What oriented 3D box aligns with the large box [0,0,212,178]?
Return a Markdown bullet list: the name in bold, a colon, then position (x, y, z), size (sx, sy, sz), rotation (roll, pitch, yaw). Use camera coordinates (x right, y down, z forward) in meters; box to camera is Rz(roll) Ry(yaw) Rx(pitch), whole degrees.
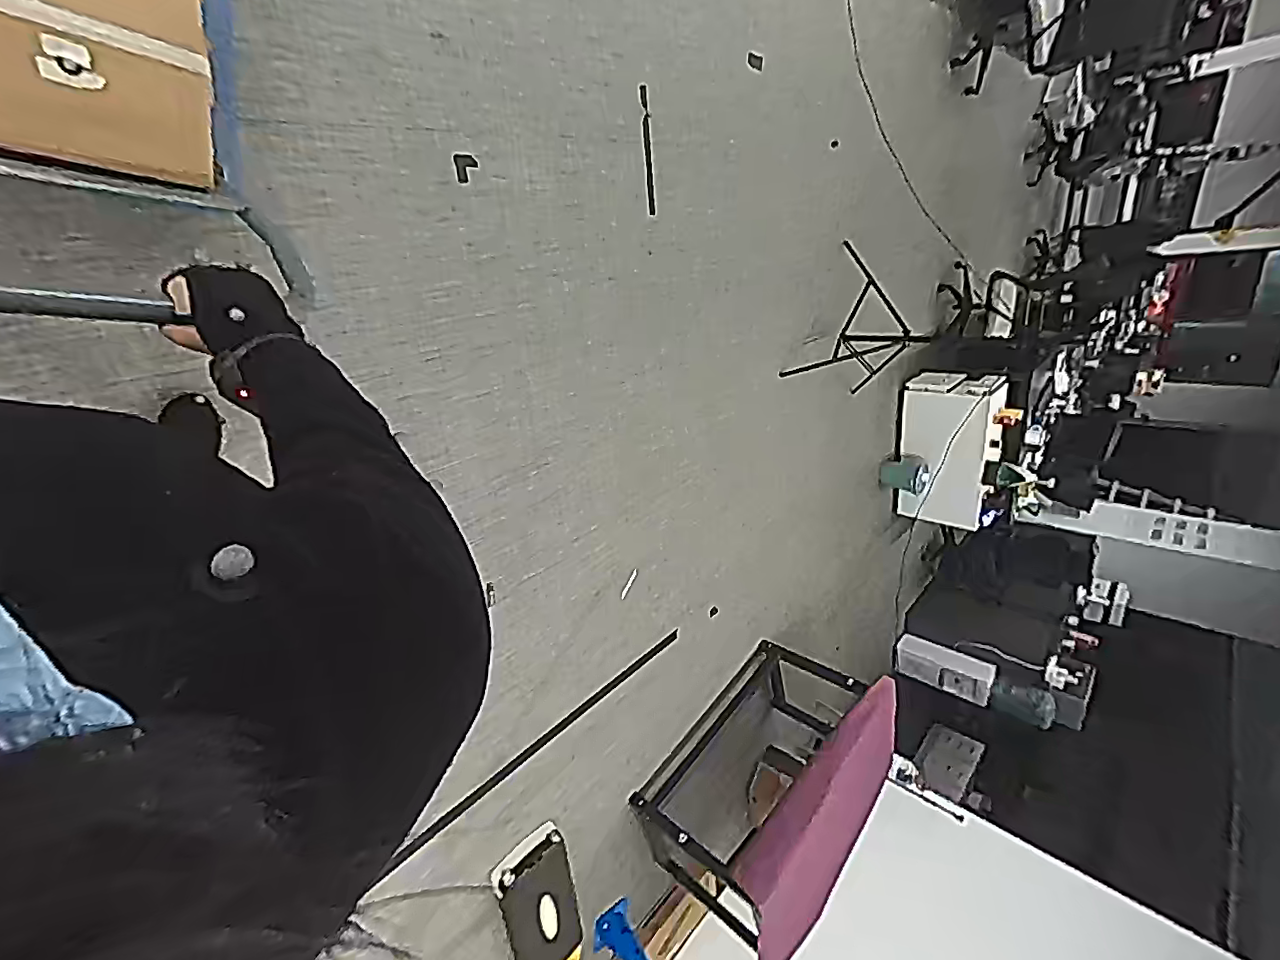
- **large box**: position (-0.845, -0.620, 0.693), size (0.408, 0.320, 0.320), rotation (-11, 126, -45)
